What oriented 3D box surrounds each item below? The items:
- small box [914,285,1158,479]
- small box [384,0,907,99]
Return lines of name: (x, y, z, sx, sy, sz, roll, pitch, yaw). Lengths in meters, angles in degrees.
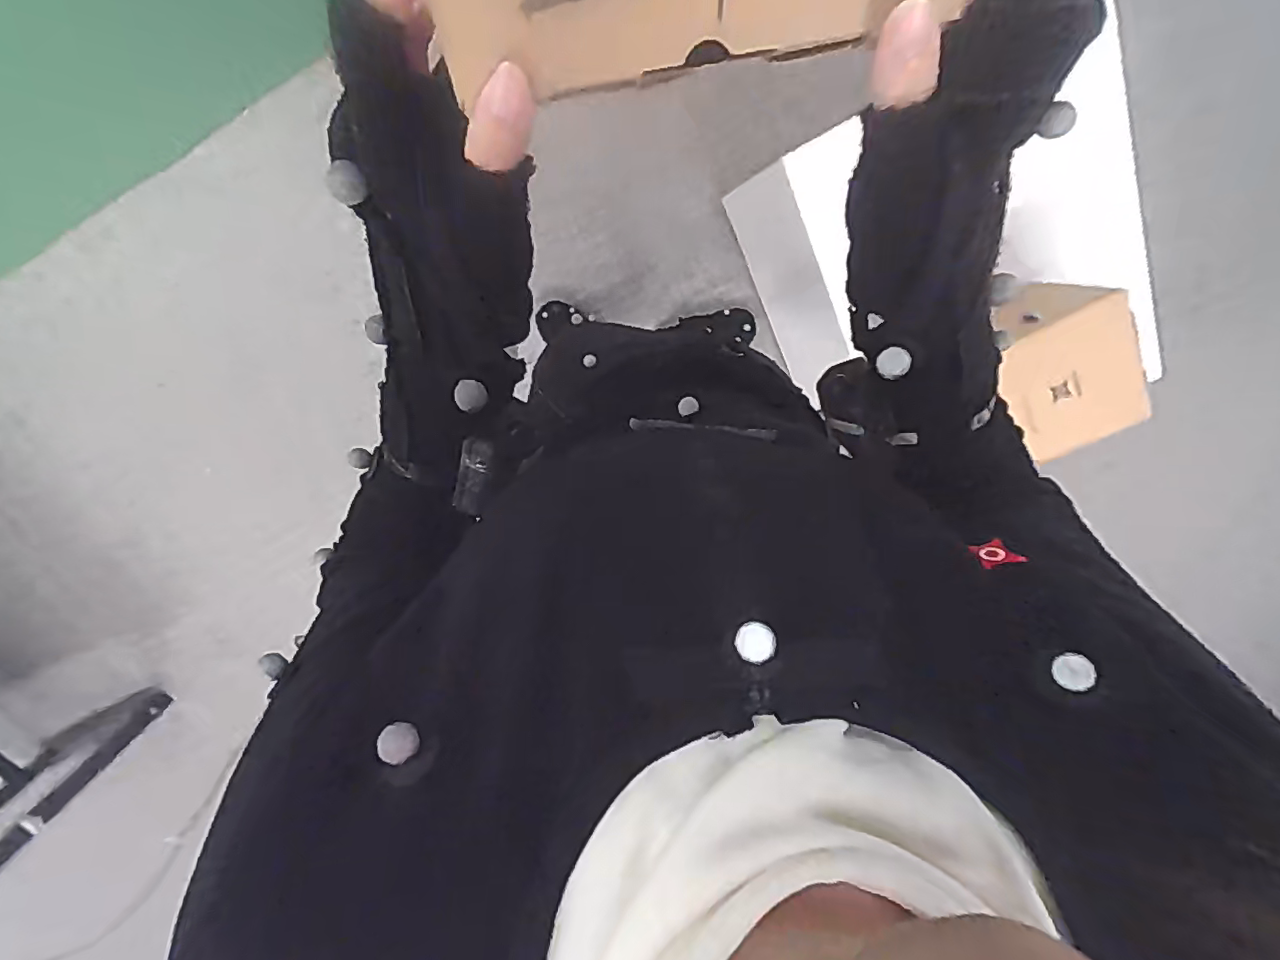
small box: (0.489, -0.133, 0.689, 0.179, 0.176, 0.168, -26, 109, 12)
small box: (-0.009, -0.254, 0.176, 0.168, 0.176, 0.179, -8, 132, 3)
